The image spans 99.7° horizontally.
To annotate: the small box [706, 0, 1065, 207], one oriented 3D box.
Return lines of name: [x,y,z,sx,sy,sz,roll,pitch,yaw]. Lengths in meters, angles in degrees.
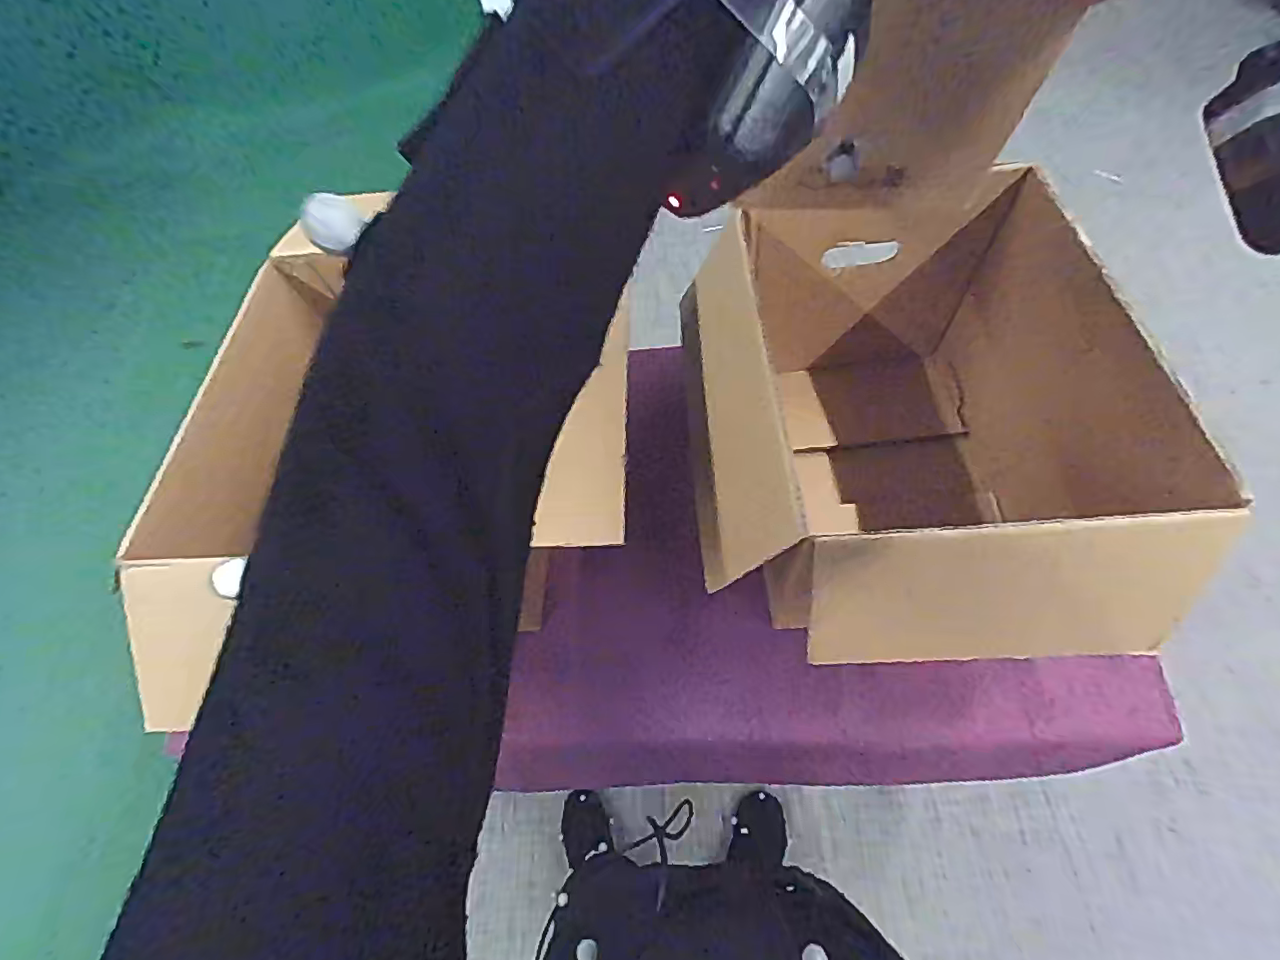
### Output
small box: [0.132,-0.302,0.335,0.168,0.176,0.179,0,67,2]
